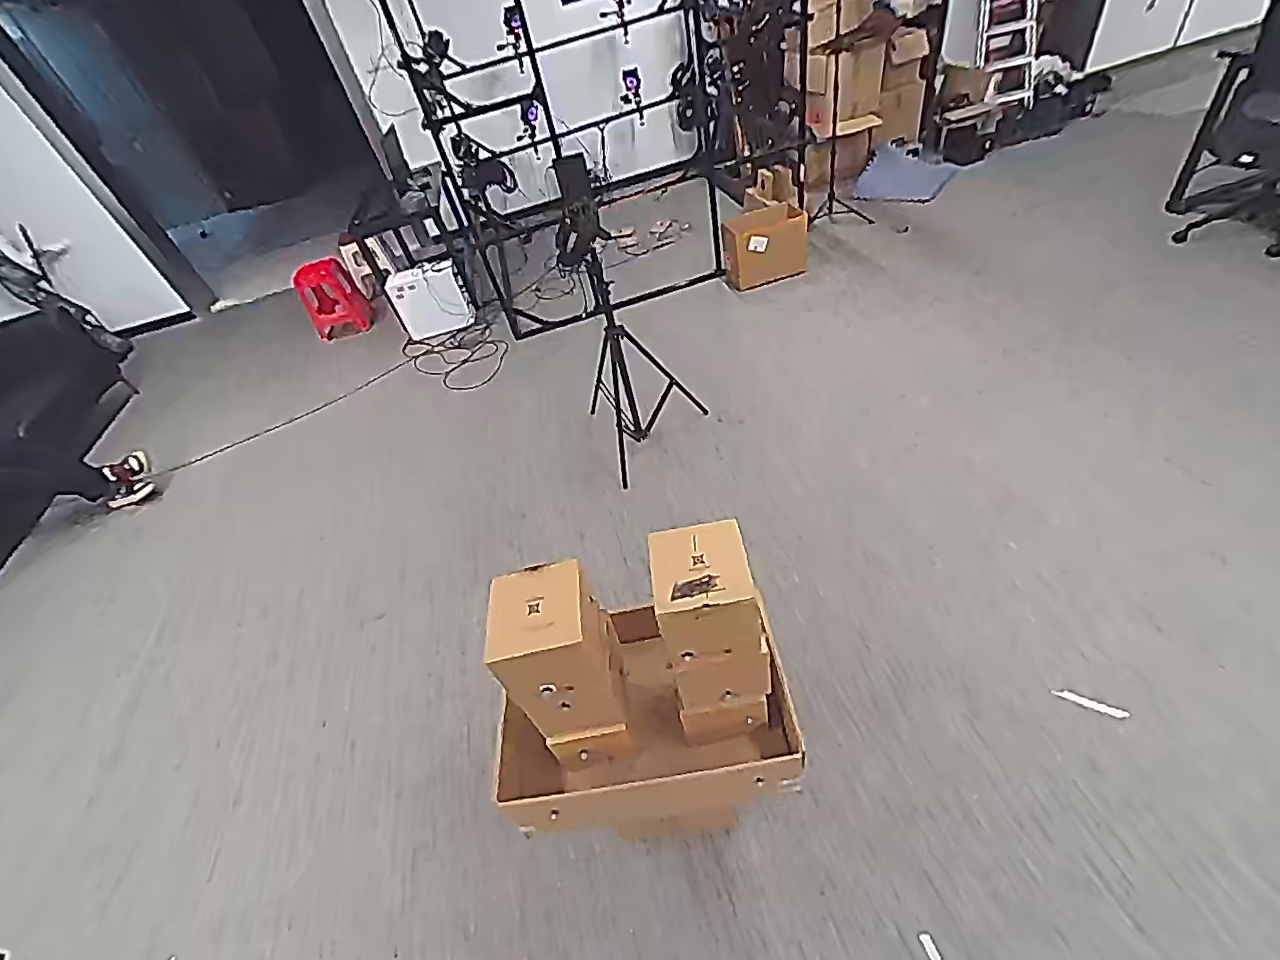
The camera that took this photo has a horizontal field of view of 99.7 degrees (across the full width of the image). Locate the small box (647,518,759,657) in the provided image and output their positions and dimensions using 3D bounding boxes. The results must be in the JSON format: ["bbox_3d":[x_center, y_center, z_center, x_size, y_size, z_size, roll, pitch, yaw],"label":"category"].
[{"bbox_3d":[0.112,0.197,0.962,0.168,0.176,0.179,-10,43,5],"label":"small box"}]

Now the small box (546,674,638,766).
[{"bbox_3d":[-0.104,0.508,1.188,0.168,0.176,0.179,-12,43,2],"label":"small box"}]

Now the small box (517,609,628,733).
[{"bbox_3d":[-0.130,0.385,1.082,0.179,0.176,0.168,-11,43,3],"label":"small box"}]

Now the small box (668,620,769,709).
[{"bbox_3d":[0.146,0.325,1.064,0.179,0.176,0.168,-13,43,2],"label":"small box"}]

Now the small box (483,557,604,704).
[{"bbox_3d":[-0.166,0.271,0.970,0.168,0.176,0.179,-13,42,2],"label":"small box"}]
